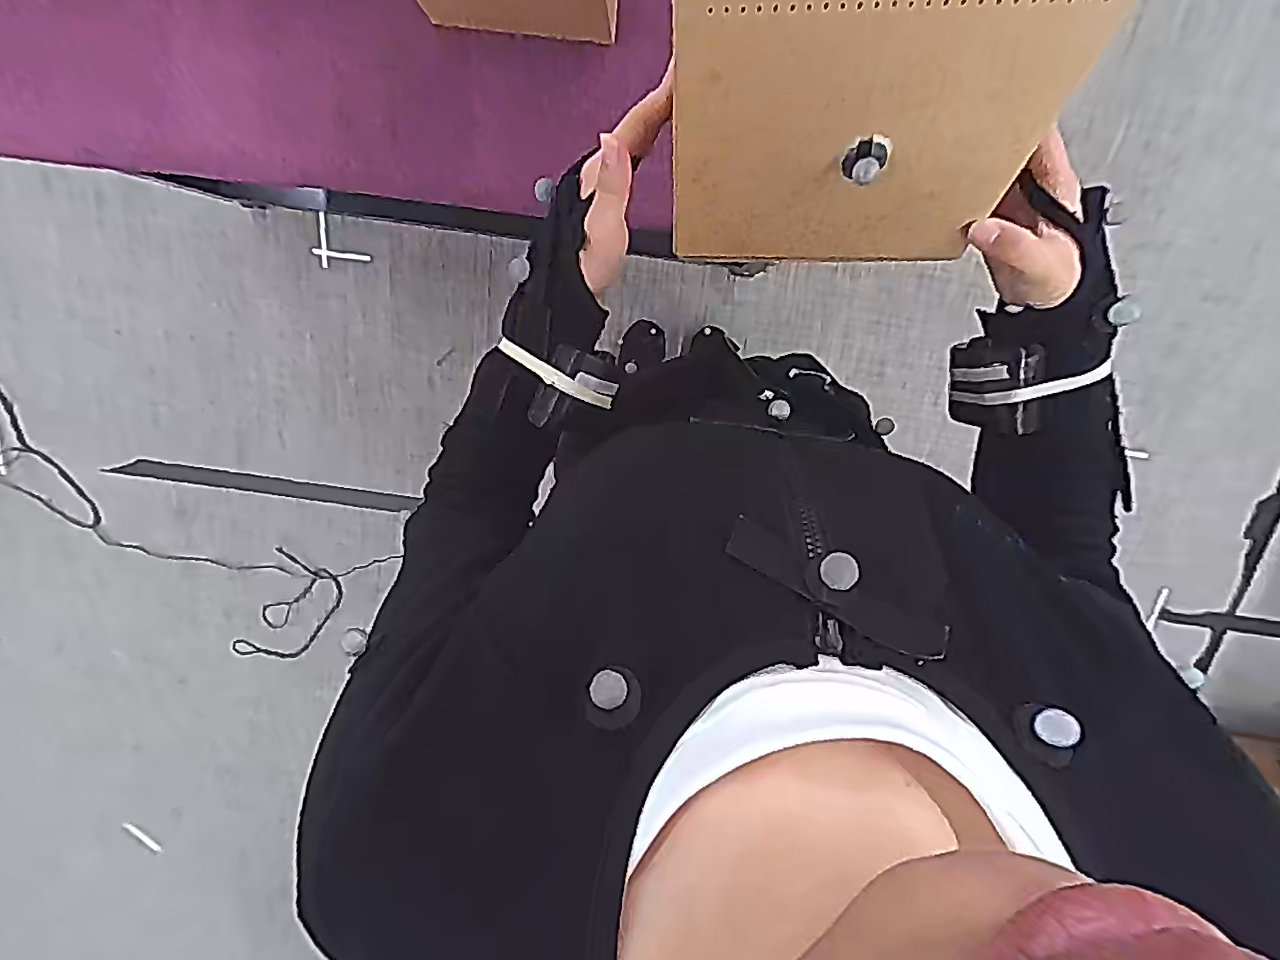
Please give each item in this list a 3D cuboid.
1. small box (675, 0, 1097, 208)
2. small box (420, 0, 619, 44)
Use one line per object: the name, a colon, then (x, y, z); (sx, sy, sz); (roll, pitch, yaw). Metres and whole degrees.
small box: (0.120, -0.260, 0.310); (0.179, 0.168, 0.176); (-3, 124, -4)
small box: (-0.100, -0.475, 0.417); (0.179, 0.176, 0.168); (5, 105, 1)
